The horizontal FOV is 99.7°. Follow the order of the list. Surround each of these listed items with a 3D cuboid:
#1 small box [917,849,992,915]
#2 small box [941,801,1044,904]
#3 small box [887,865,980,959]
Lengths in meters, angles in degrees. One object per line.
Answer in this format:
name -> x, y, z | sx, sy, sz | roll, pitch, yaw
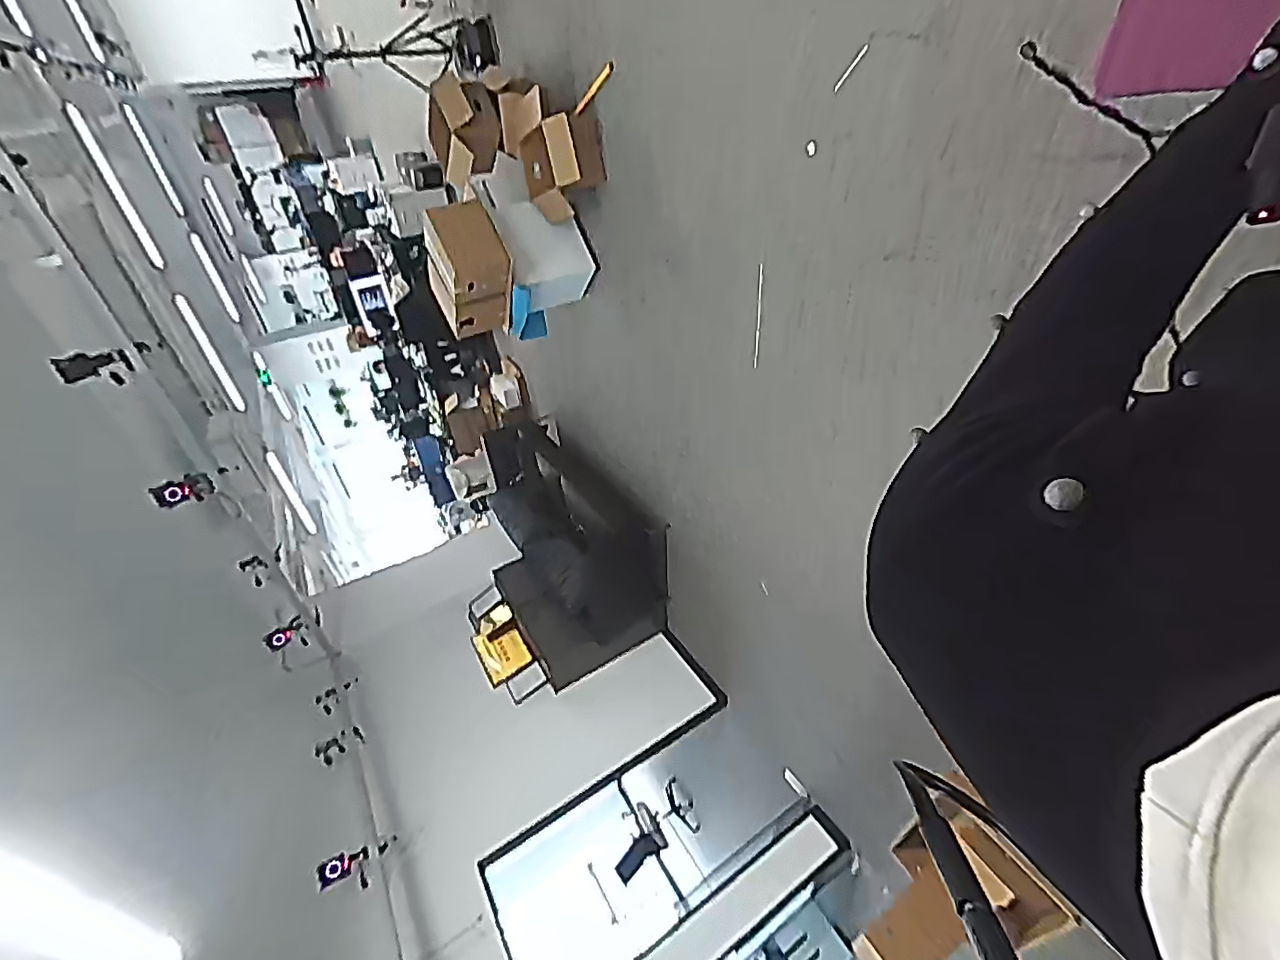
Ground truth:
small box -> 1.073, 1.323, 1.800 | 0.179, 0.176, 0.168 | 43, 148, 41
small box -> 1.059, 1.114, 1.626 | 0.179, 0.176, 0.168 | 44, 149, 39
small box -> 0.936, 1.381, 1.730 | 0.179, 0.176, 0.168 | 41, 146, 42
